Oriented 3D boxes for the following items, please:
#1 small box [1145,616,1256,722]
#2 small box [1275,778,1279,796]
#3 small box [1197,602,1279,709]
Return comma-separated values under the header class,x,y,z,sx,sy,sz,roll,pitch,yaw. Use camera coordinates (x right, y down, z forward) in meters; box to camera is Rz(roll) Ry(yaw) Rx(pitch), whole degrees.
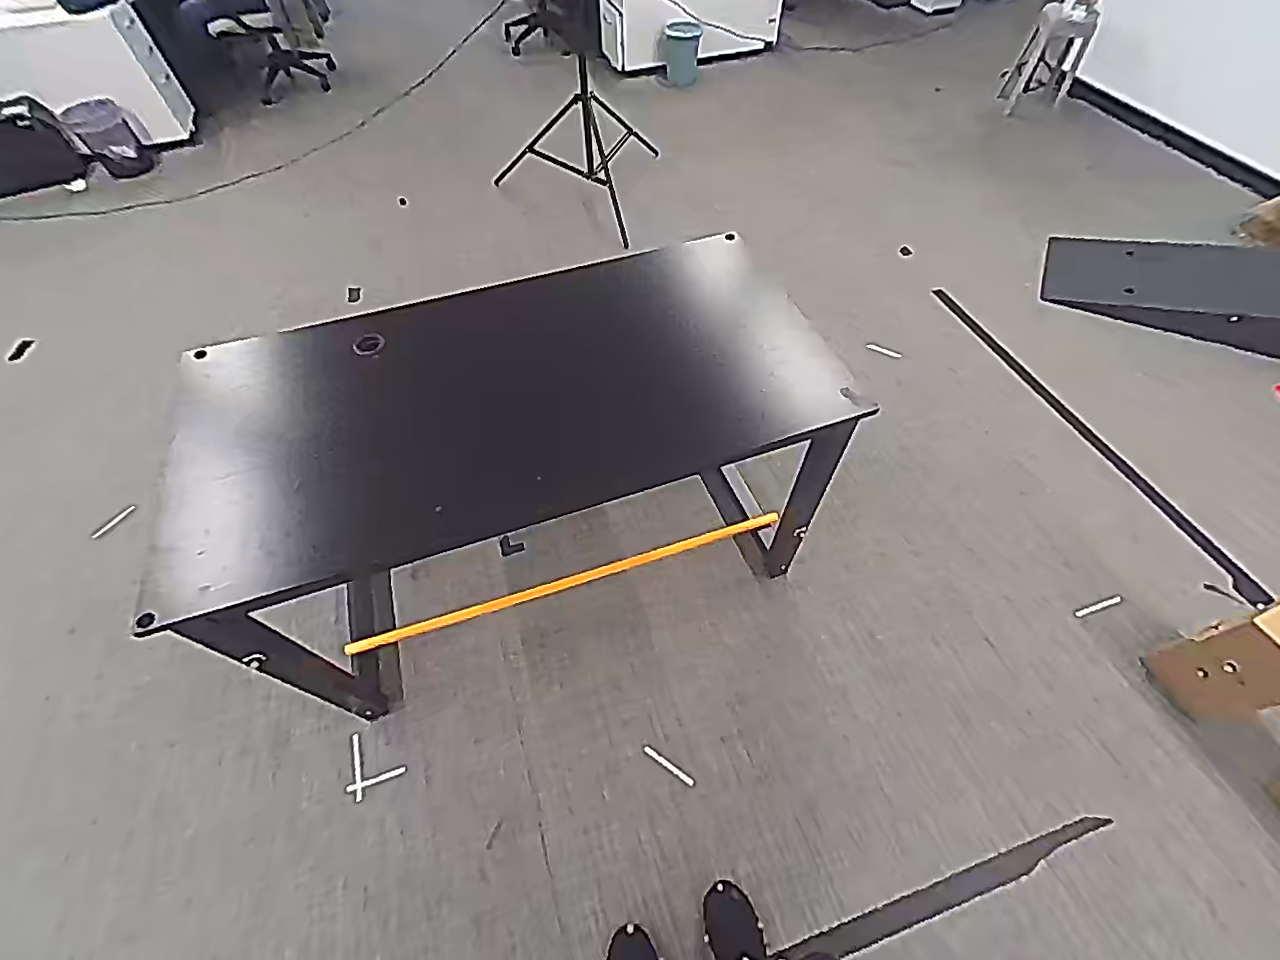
class,x,y,z,sx,sy,sz,roll,pitch,yaw
small box,1.414,0.464,1.320,0.168,0.176,0.179,-18,58,-10
small box,1.552,0.702,1.156,0.179,0.176,0.168,-17,57,-9
small box,1.408,0.376,1.183,0.179,0.176,0.168,-21,56,-11
